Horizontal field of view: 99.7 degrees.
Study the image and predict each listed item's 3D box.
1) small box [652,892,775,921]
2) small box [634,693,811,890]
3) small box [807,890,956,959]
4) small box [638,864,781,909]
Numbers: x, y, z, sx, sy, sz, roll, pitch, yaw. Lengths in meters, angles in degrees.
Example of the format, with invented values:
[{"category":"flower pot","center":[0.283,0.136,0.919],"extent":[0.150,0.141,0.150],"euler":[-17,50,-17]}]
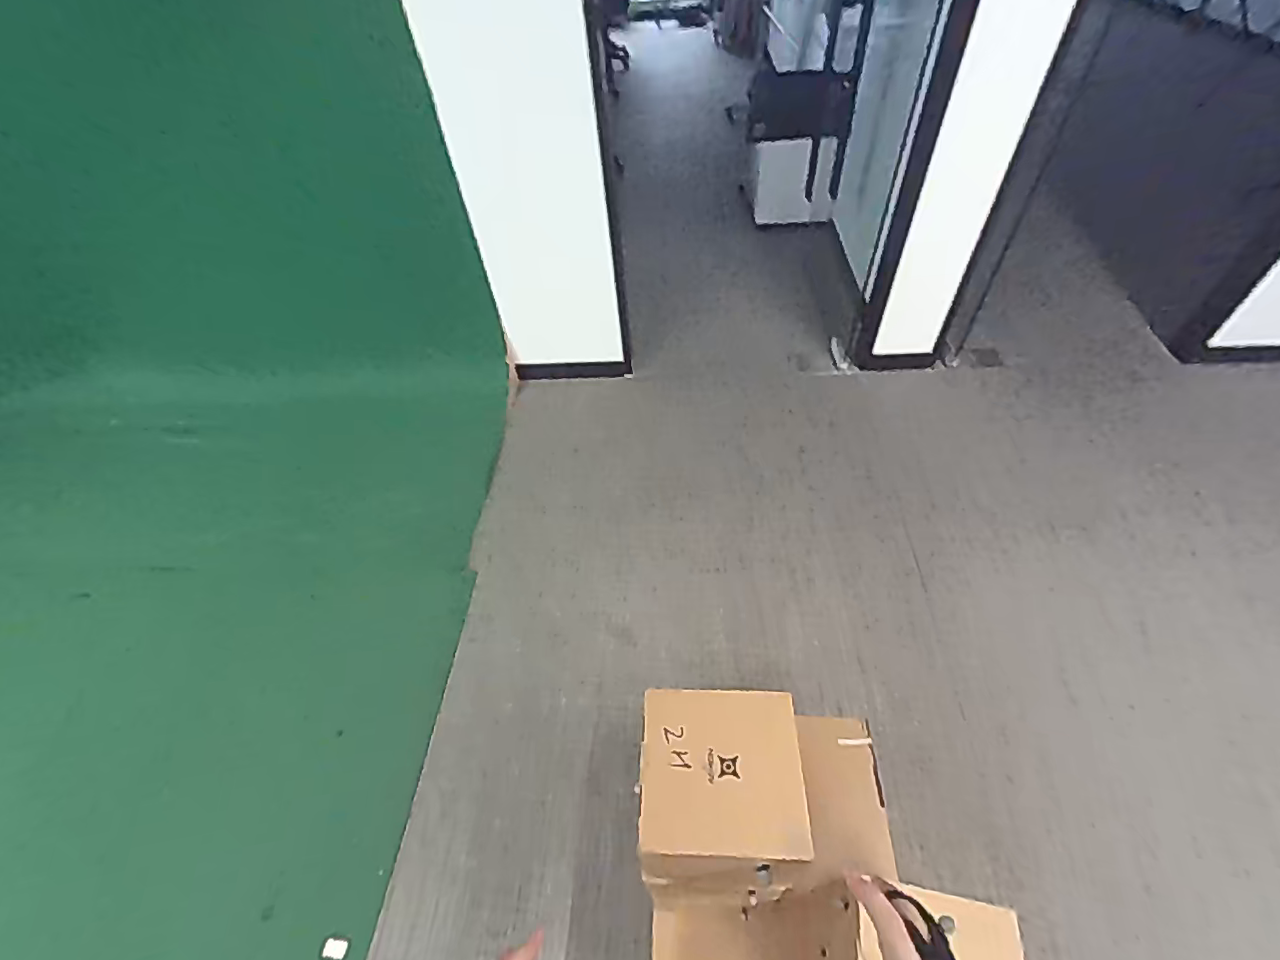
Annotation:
[{"category":"small box","center":[0.111,0.599,0.875],"extent":[0.179,0.176,0.168],"euler":[-2,46,4]},{"category":"small box","center":[0.091,0.371,0.642],"extent":[0.179,0.176,0.168],"euler":[0,46,6]},{"category":"small box","center":[0.334,0.703,0.755],"extent":[0.168,0.176,0.179],"euler":[3,48,8]},{"category":"small box","center":[0.093,0.487,0.759],"extent":[0.179,0.176,0.168],"euler":[0,46,4]}]
